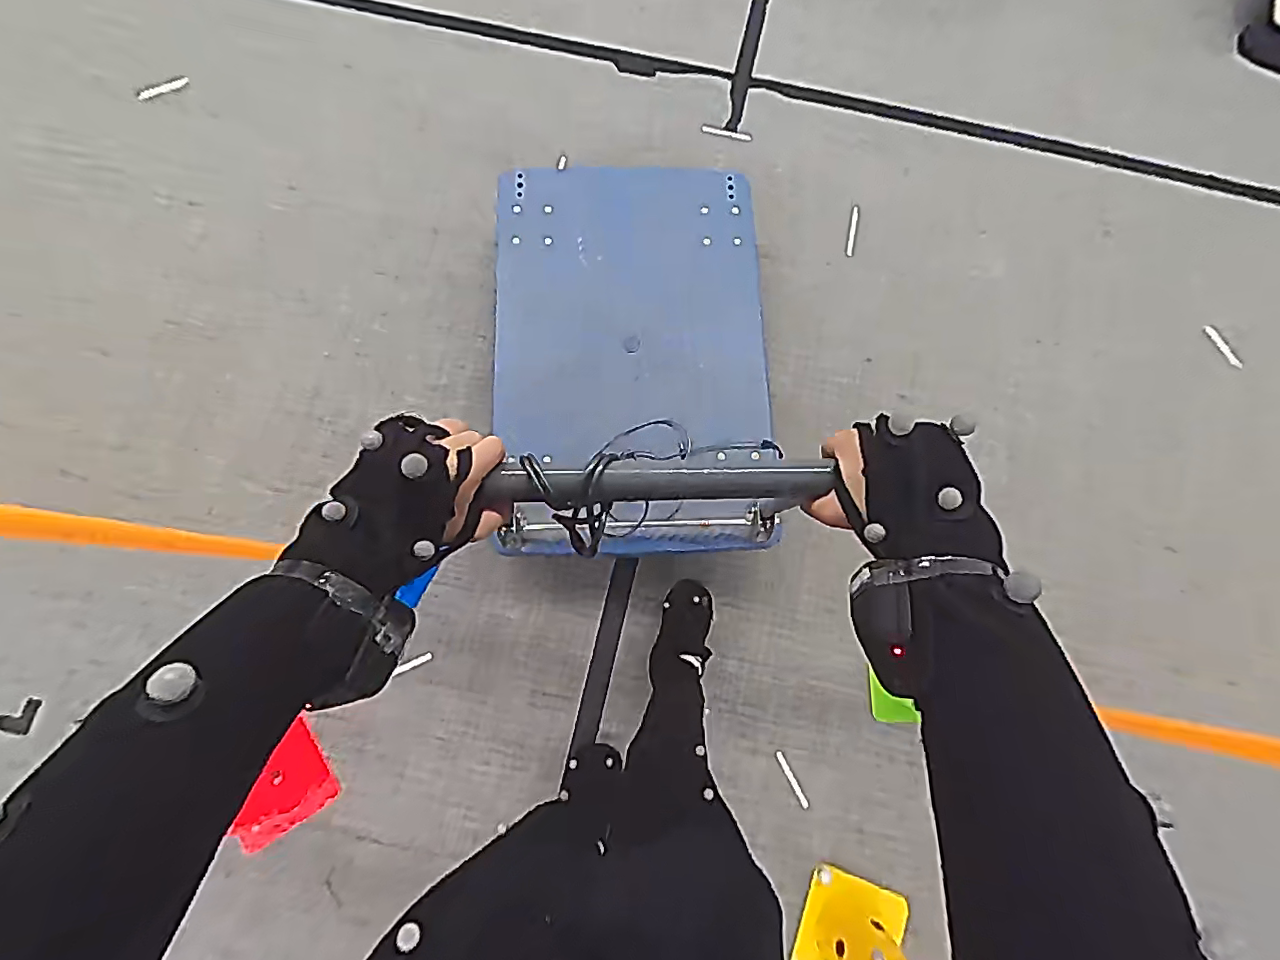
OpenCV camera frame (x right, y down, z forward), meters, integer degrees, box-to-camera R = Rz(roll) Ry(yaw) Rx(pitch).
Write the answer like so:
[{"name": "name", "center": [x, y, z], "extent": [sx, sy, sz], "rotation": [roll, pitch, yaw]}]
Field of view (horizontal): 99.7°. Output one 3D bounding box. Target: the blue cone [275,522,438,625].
[{"name": "blue cone", "center": [-0.550, 0.164, 1.020], "extent": [0.193, 0.380, 0.192], "rotation": [28, 78, 4]}]

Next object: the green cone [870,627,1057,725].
[{"name": "green cone", "center": [0.610, 0.388, 1.005], "extent": [0.200, 0.368, 0.202], "rotation": [0, 78, -3]}]

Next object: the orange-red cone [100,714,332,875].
[{"name": "orange-red cone", "center": [-0.724, 0.555, 0.904], "extent": [0.199, 0.360, 0.198], "rotation": [-30, 81, -11]}]
